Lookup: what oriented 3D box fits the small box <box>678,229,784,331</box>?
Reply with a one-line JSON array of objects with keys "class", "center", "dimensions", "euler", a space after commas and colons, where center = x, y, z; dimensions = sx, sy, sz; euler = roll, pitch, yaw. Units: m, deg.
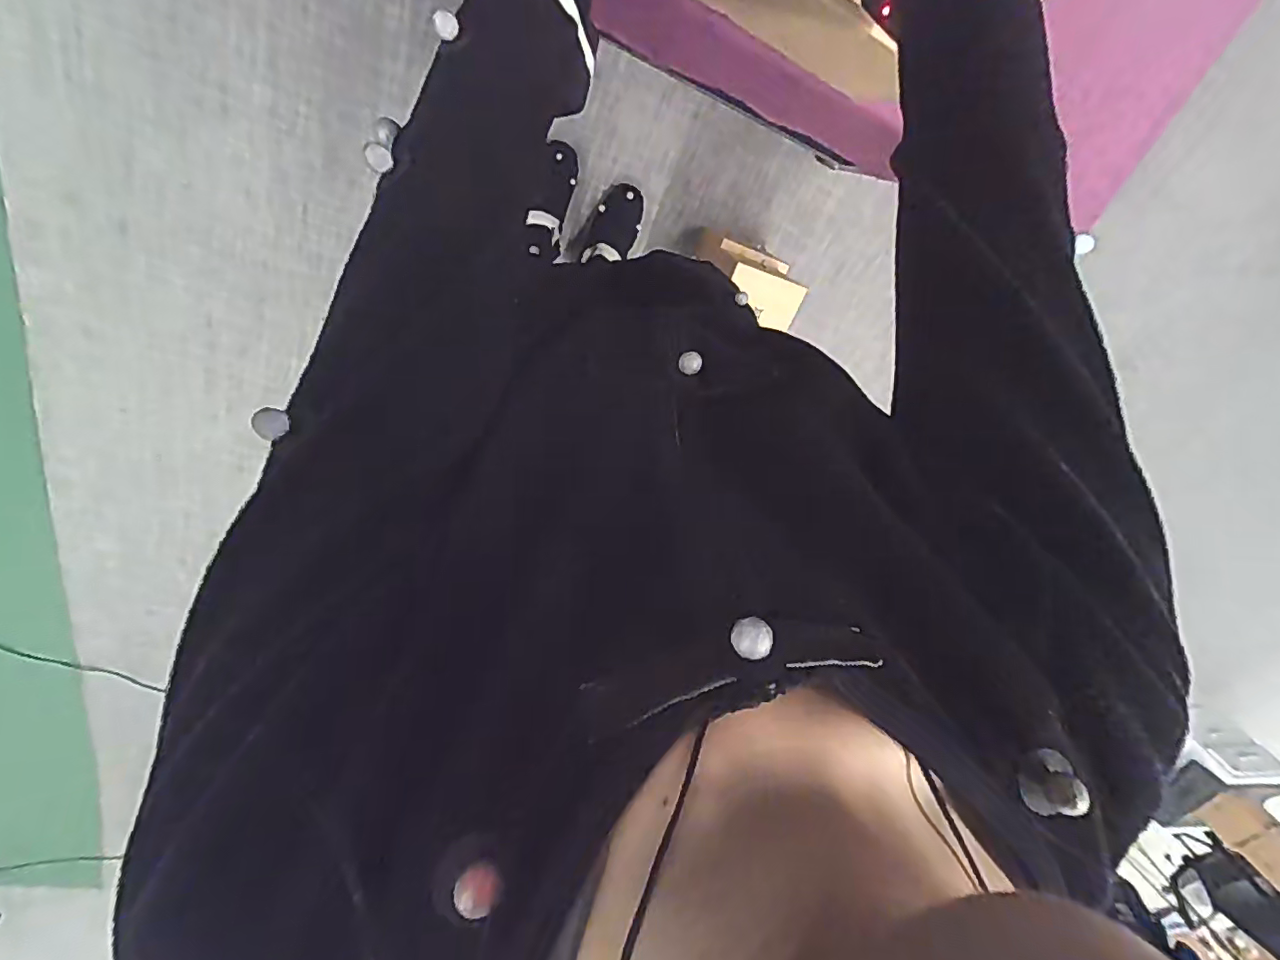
[{"class": "small box", "center": [0.212, -0.491, 1.314], "dimensions": [0.179, 0.176, 0.168], "euler": [14, 120, -18]}]
